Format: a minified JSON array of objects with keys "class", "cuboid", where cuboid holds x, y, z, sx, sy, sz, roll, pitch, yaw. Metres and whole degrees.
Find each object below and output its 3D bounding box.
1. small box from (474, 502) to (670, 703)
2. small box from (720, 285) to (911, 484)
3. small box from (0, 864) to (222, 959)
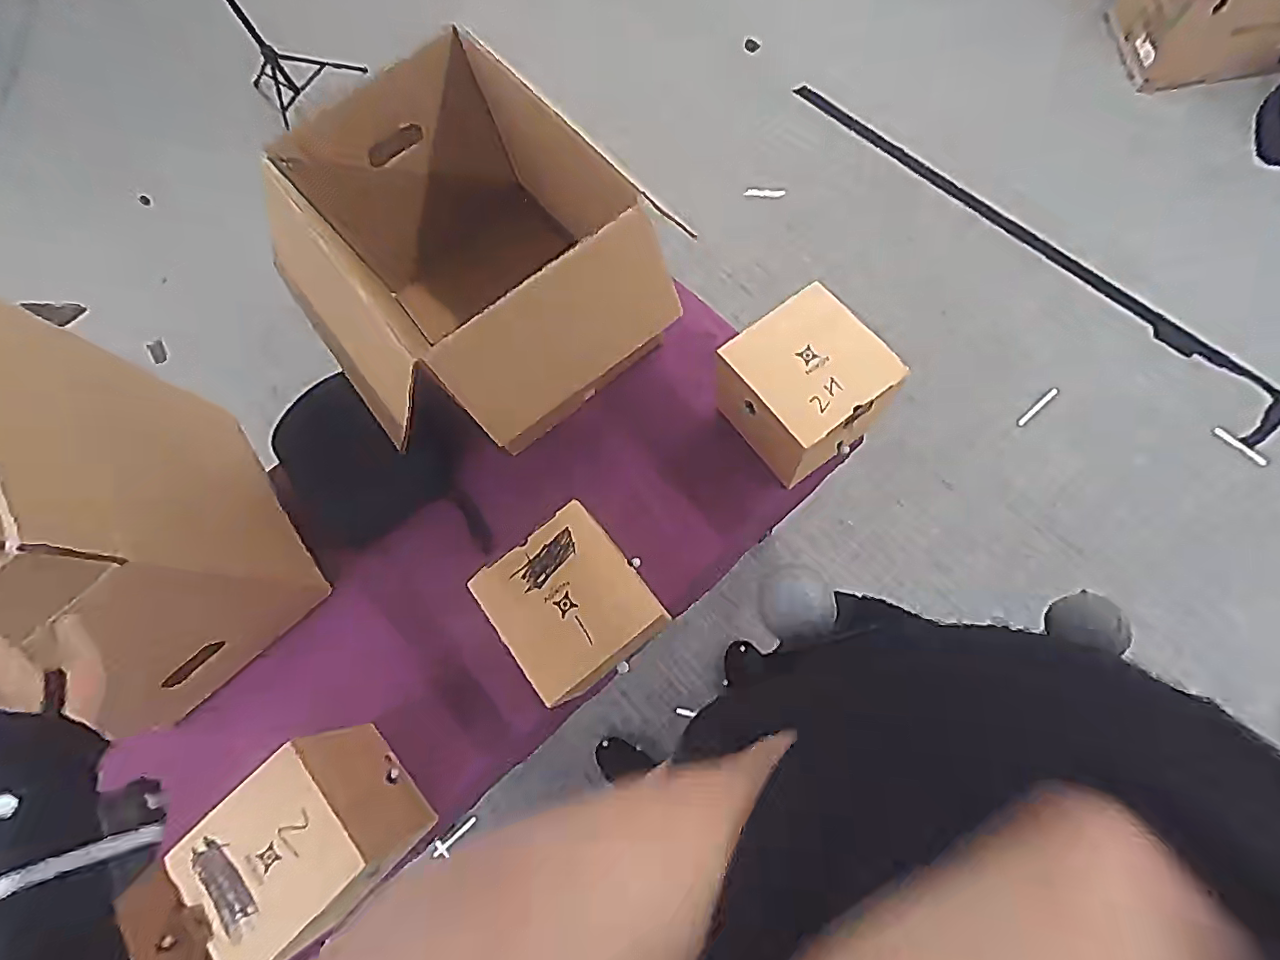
[{"class":"small box","cuboid":[-0.077,0.160,0.702,0.168,0.176,0.179,-38,73,-5]},{"class":"small box","cuboid":[0.224,-0.122,0.748,0.168,0.176,0.179,-36,72,-4]},{"class":"small box","cuboid":[-0.657,0.609,0.635,0.179,0.176,0.168,-41,73,-8]}]
